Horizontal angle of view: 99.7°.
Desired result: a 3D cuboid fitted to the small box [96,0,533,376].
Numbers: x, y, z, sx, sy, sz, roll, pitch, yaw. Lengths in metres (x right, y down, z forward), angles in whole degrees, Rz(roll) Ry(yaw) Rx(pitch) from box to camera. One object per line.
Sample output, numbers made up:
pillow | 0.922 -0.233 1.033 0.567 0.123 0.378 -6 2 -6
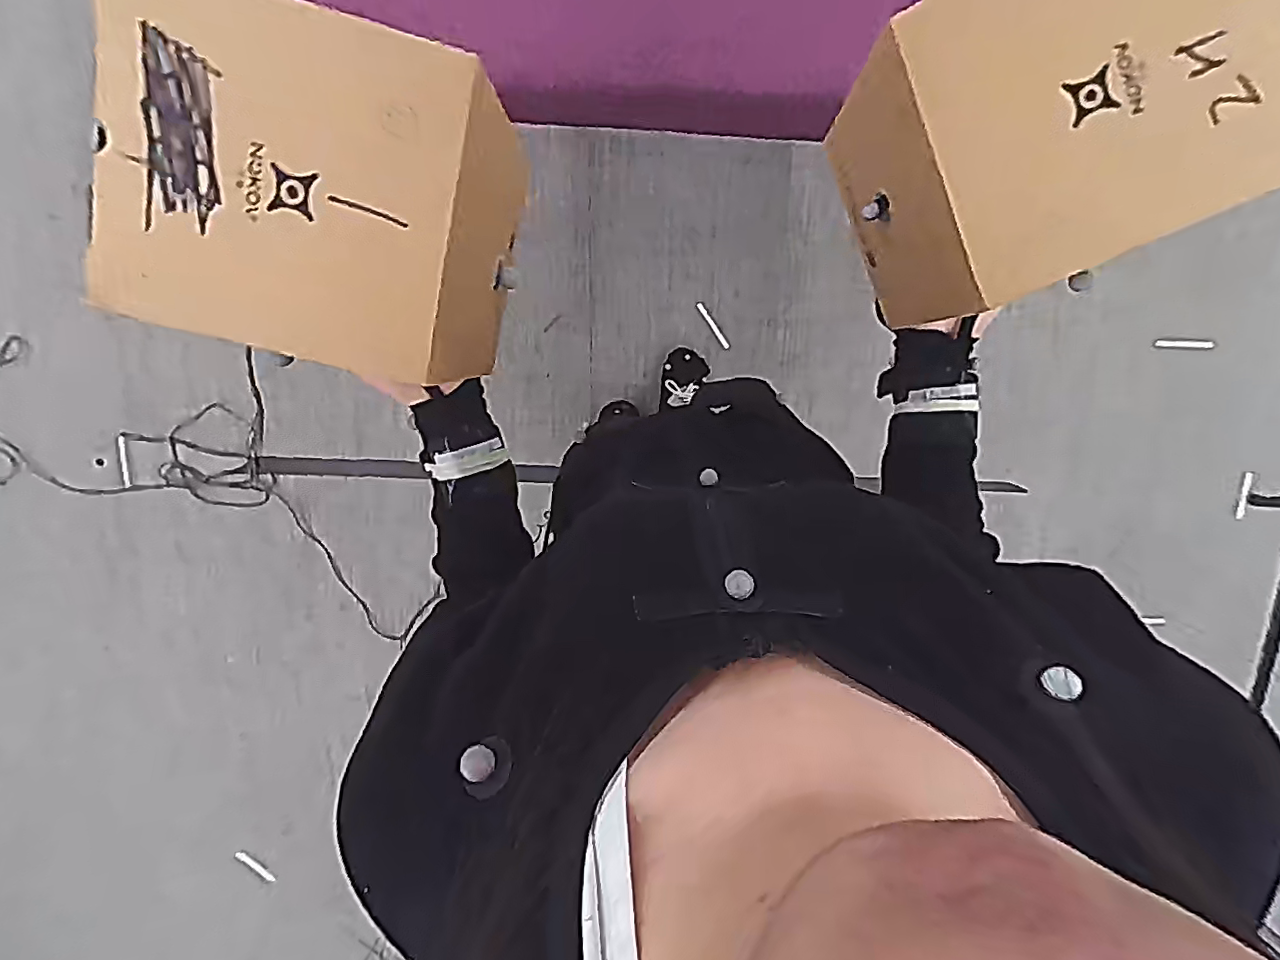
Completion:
small box | -0.179 -0.170 0.346 0.179 0.176 0.168 13 103 -6

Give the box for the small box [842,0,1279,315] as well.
small box | 0.252 -0.224 0.361 0.179 0.176 0.168 -23 99 10
